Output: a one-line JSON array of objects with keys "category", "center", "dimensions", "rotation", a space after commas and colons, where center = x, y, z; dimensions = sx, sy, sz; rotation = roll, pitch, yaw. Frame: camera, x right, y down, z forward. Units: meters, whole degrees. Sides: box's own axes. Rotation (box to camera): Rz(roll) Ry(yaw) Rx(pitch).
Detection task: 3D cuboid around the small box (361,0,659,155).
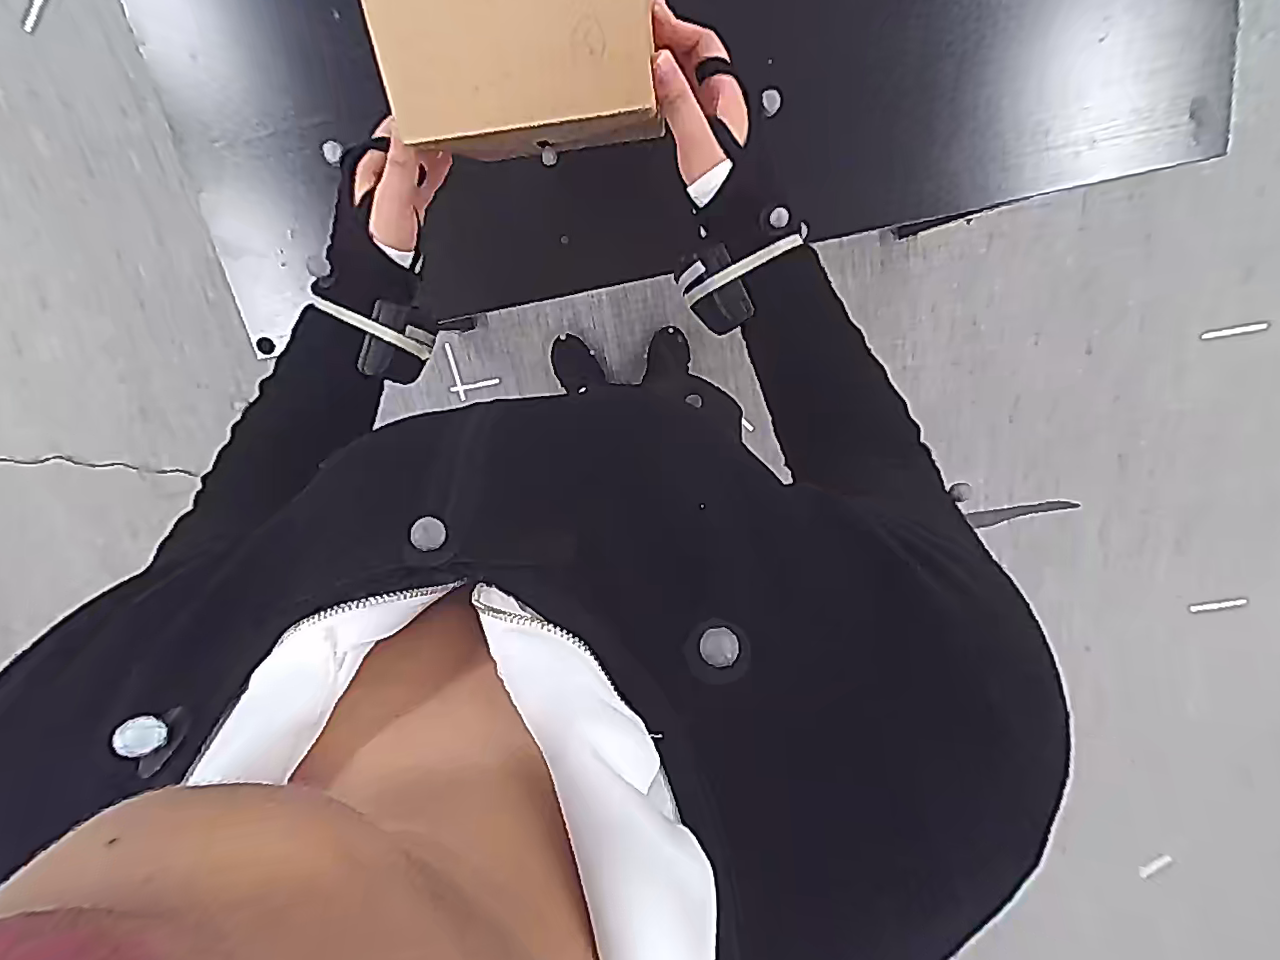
[{"category": "small box", "center": [-0.077, -0.331, 0.369], "dimensions": [0.168, 0.176, 0.179], "rotation": [-4, 117, 6]}]
